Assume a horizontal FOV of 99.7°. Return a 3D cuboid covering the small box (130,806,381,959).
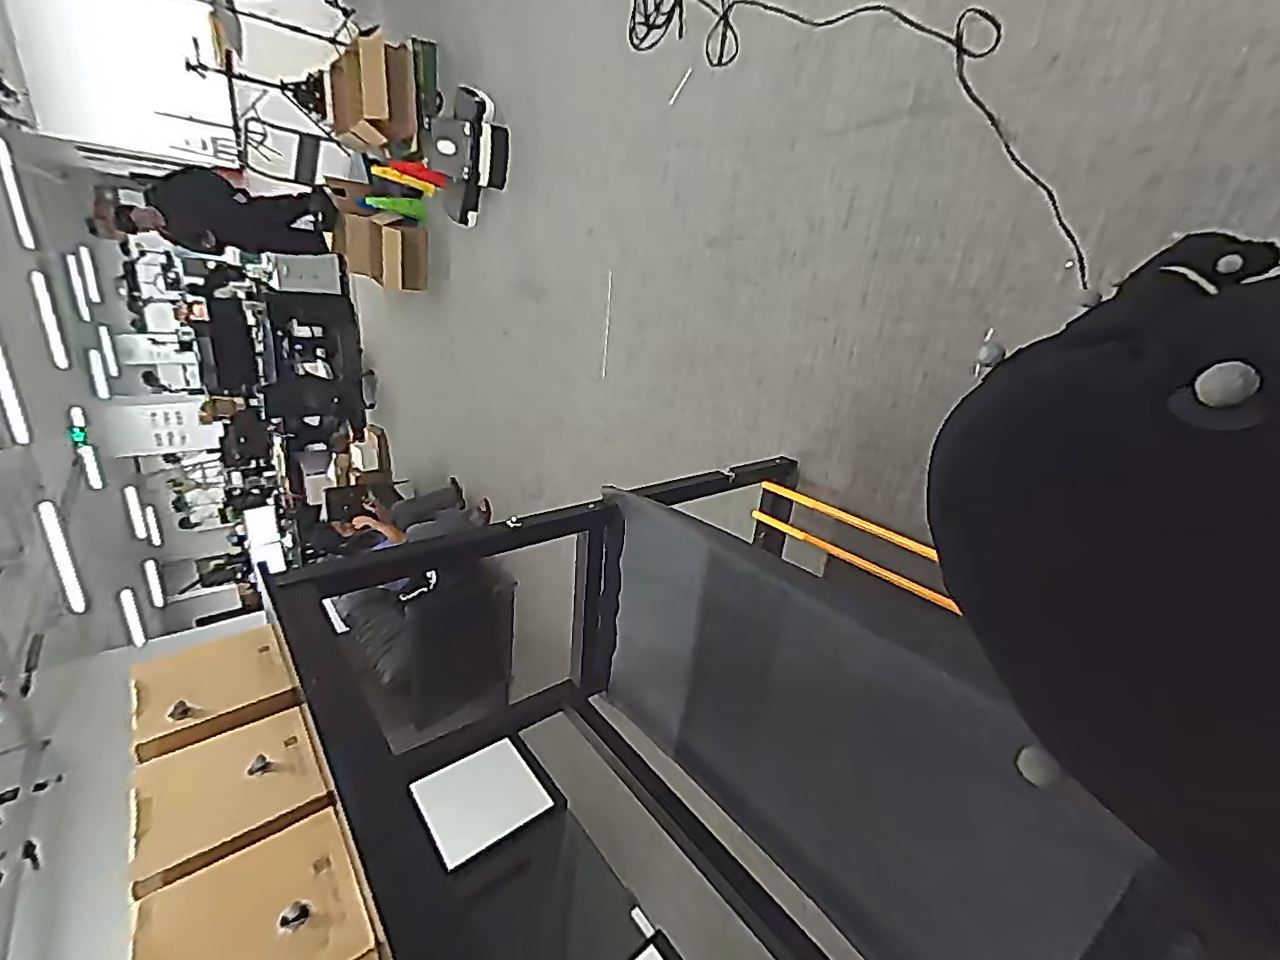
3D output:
[{"bbox_3d":[-0.348,0.463,0.507,0.168,0.176,0.179,27,119,45],"label":"small box"}]
